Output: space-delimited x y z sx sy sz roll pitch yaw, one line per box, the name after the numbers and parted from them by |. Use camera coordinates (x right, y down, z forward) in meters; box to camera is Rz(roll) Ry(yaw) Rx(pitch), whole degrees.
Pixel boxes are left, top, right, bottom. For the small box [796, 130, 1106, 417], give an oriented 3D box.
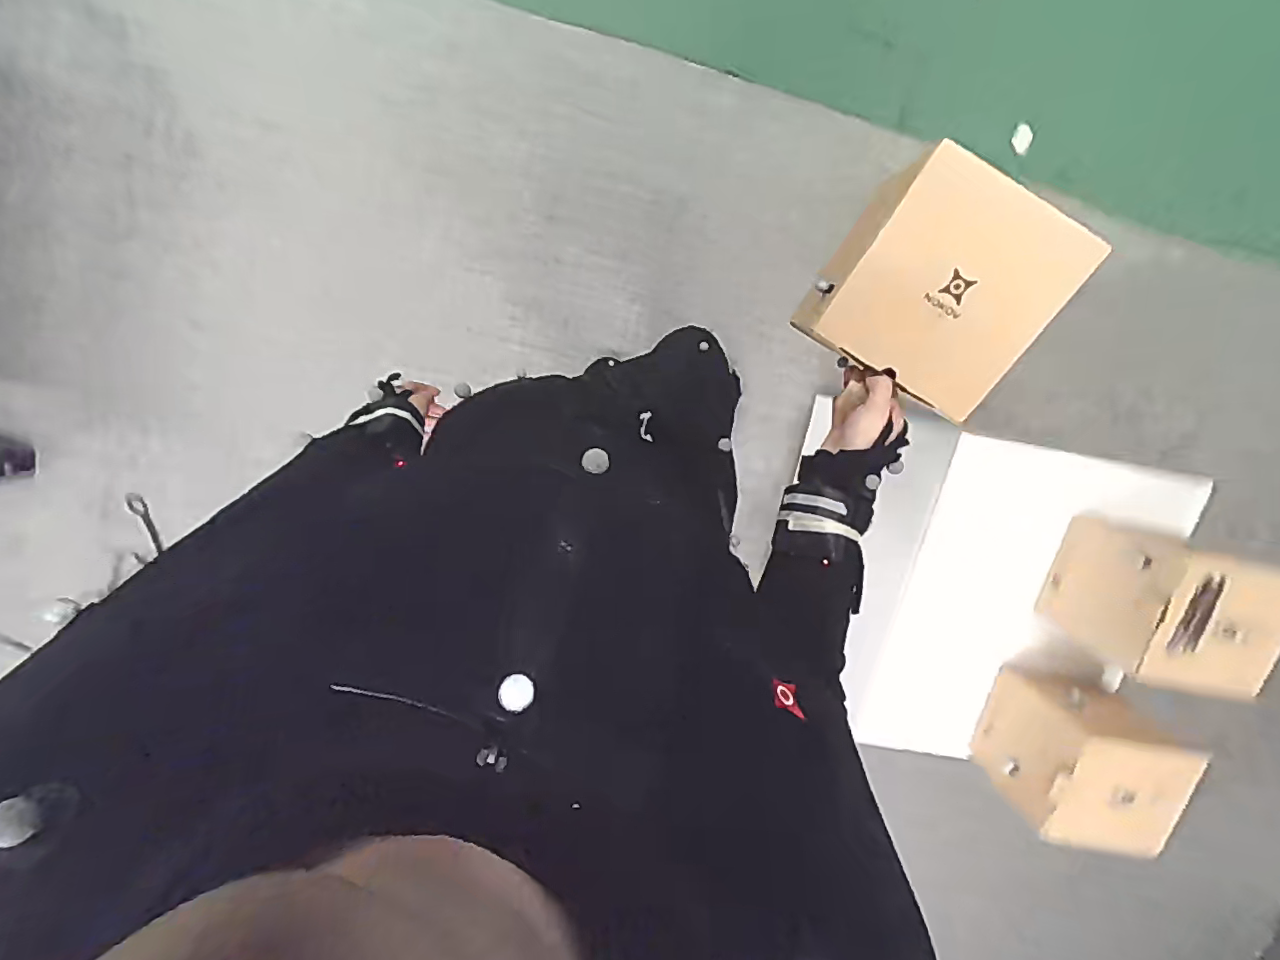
0.273 -0.193 0.531 0.168 0.176 0.179 30 111 -4 | small box

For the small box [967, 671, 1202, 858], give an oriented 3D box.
0.628 0.404 0.791 0.179 0.176 0.168 11 104 -6 | small box
